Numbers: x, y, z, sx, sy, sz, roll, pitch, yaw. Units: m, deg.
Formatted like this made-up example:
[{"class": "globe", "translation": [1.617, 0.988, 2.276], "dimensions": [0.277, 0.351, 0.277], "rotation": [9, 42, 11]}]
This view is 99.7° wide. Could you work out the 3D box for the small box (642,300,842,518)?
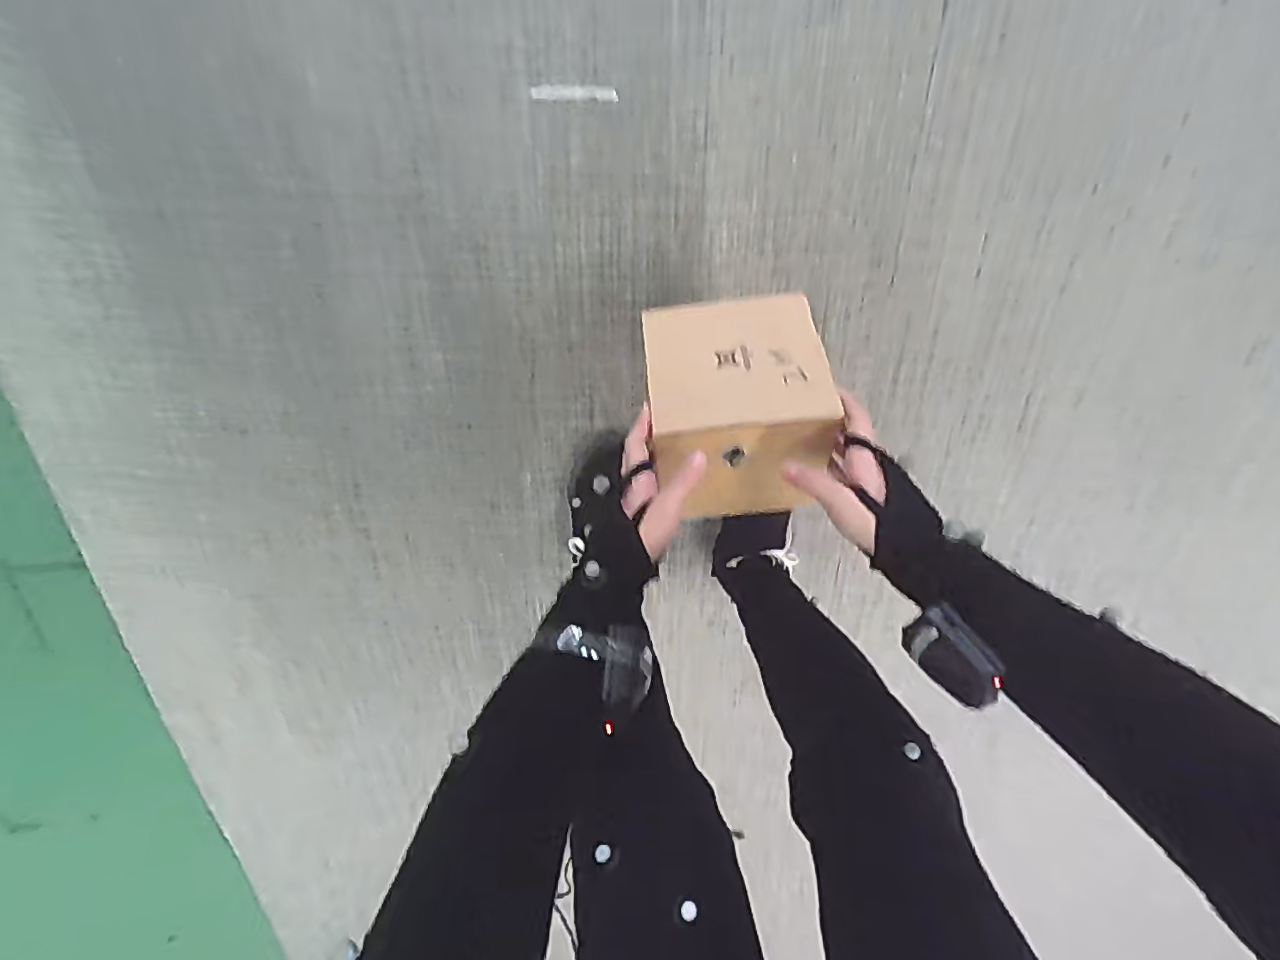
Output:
[{"class": "small box", "translation": [0.101, -0.070, 0.598], "dimensions": [0.179, 0.168, 0.176], "rotation": [-6, 147, 3]}]
